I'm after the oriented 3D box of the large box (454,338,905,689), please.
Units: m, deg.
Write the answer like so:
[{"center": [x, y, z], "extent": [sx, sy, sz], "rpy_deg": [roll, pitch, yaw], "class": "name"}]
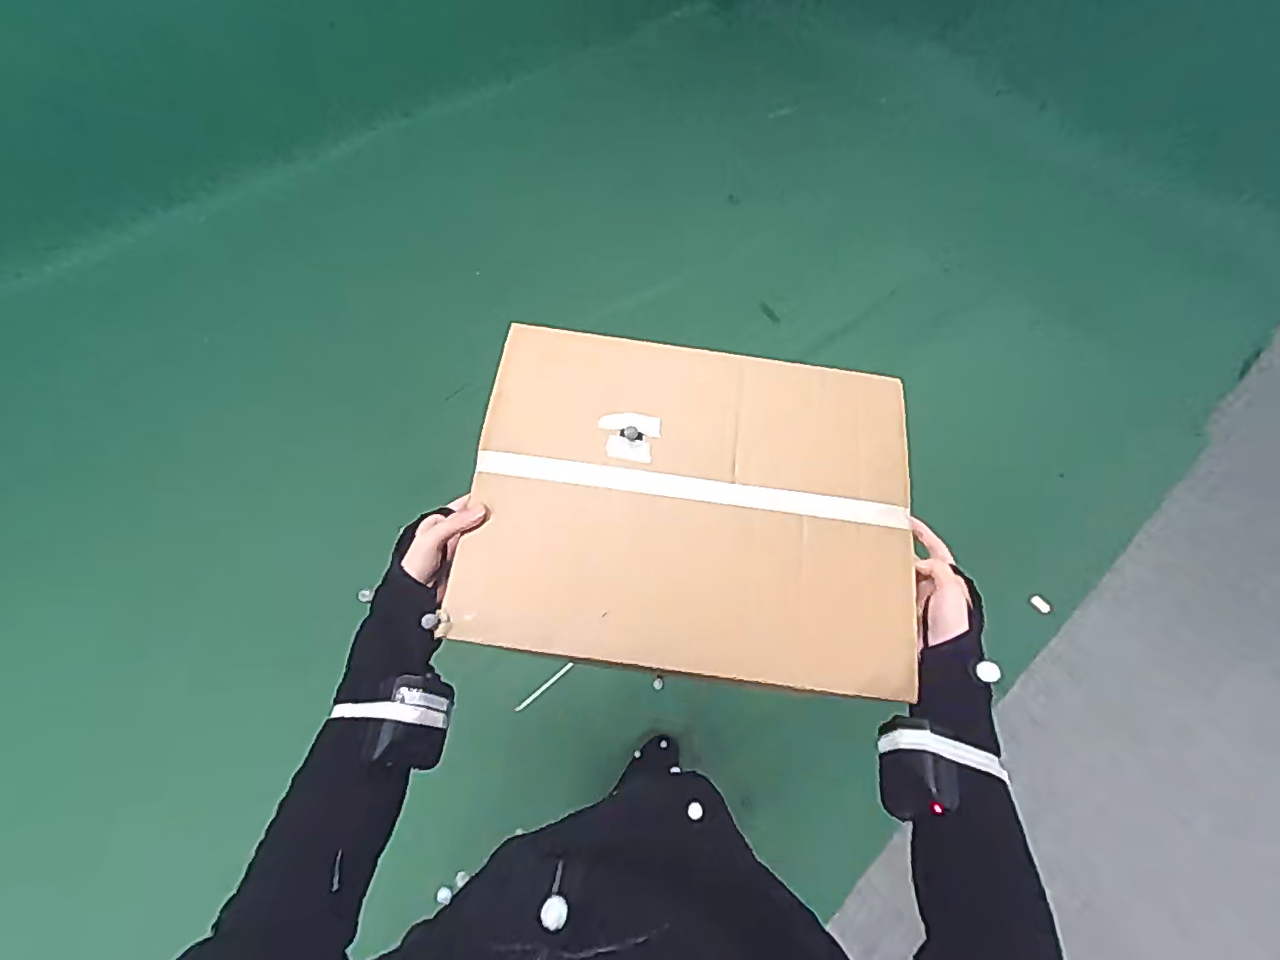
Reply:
[{"center": [0.047, 0.064, 0.658], "extent": [0.408, 0.320, 0.320], "rpy_deg": [8, 69, 1], "class": "large box"}]
